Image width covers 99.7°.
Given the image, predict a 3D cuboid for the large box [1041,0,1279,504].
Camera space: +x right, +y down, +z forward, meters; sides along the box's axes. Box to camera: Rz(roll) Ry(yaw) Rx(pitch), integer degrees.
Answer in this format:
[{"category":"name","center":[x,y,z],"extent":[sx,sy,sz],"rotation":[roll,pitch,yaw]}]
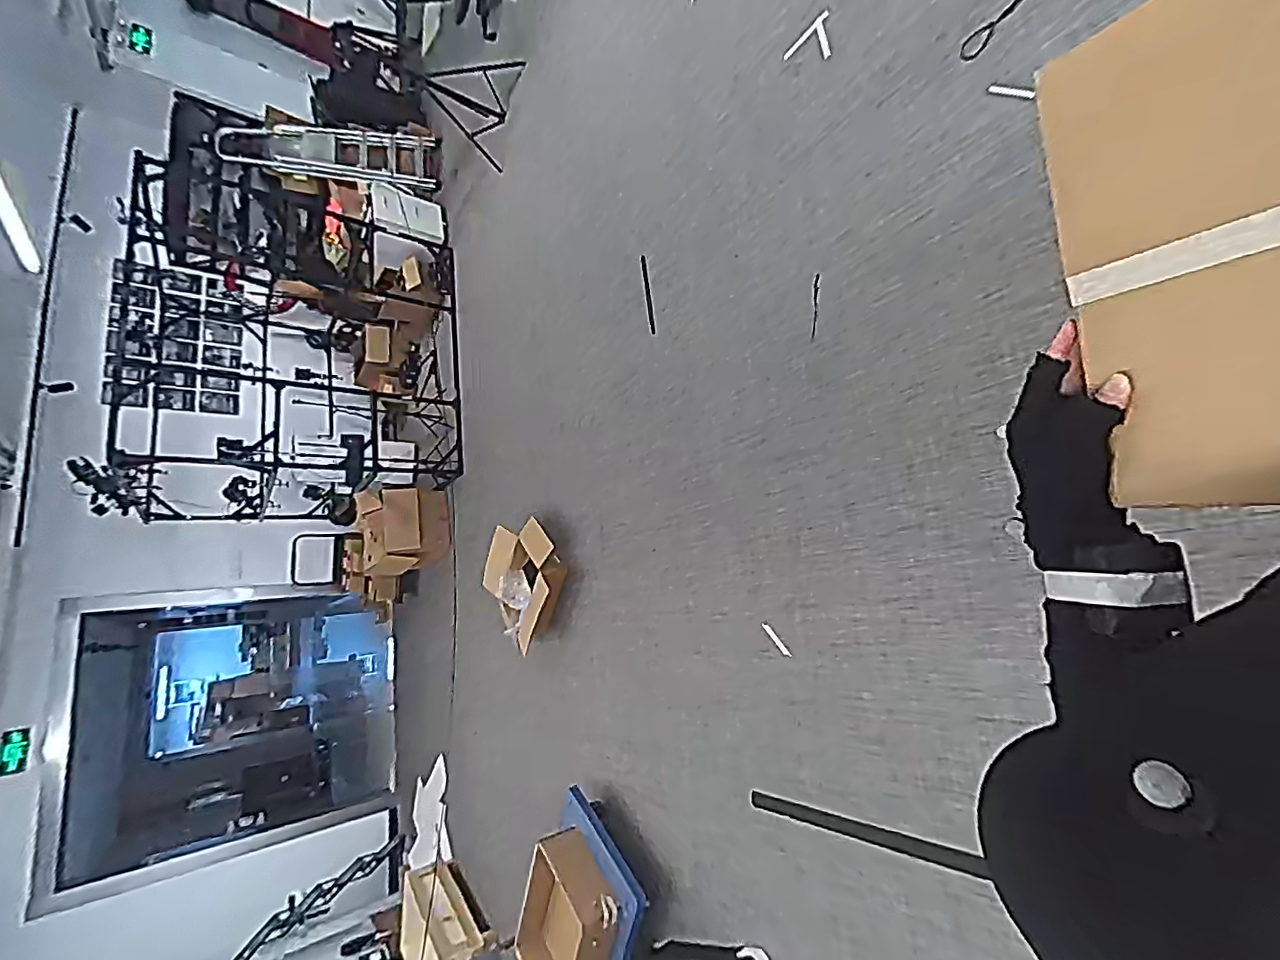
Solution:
[{"category":"large box","center":[0.542,-0.176,0.304],"extent":[0.408,0.320,0.320],"rotation":[-9,93,58]}]
